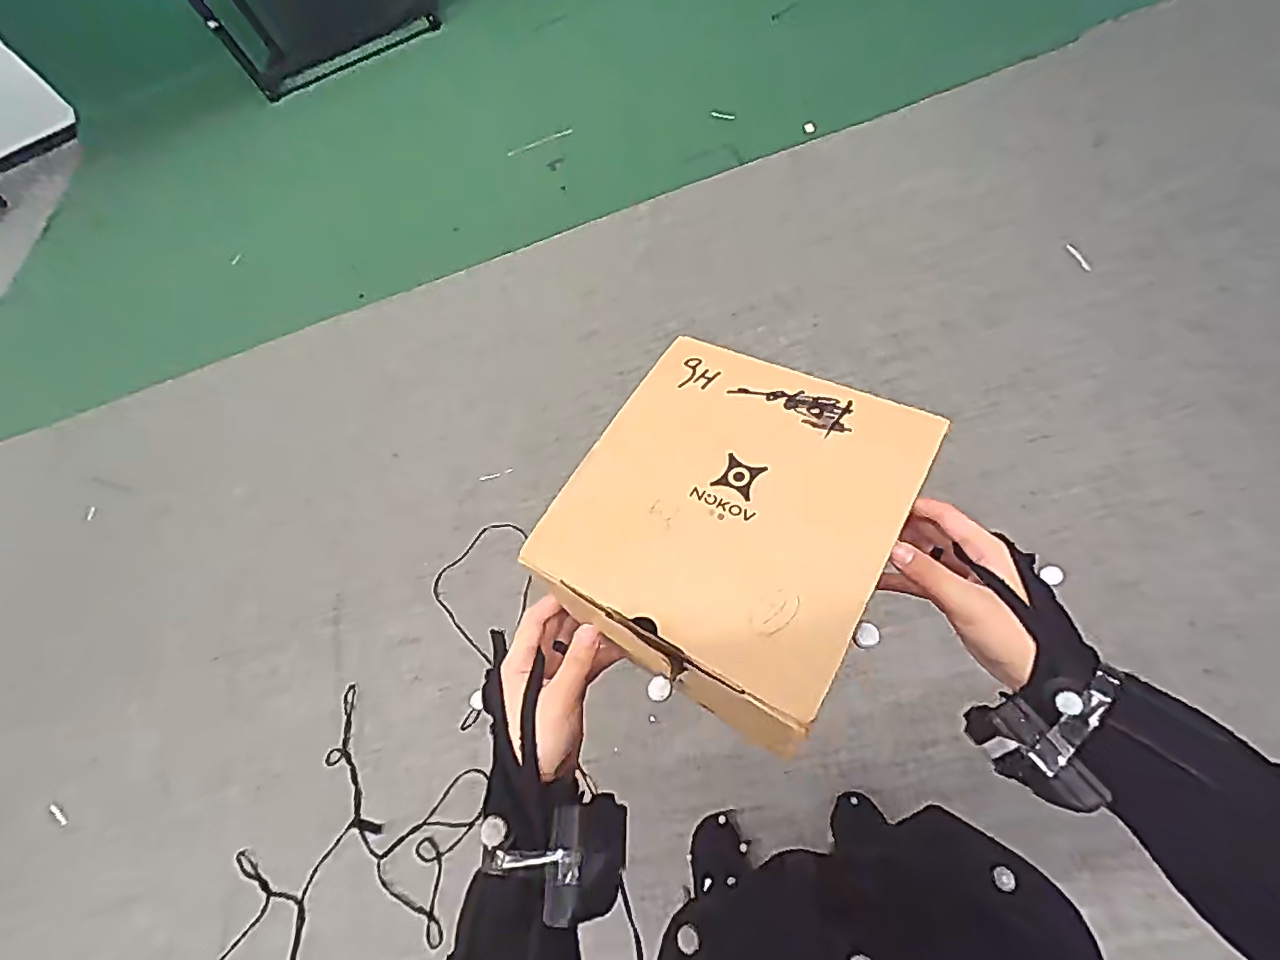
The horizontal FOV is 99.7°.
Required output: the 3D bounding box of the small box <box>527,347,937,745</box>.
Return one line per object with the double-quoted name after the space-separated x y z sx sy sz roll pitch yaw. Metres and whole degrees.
0.064 0.050 0.360 0.168 0.176 0.179 25 68 25 "small box"
